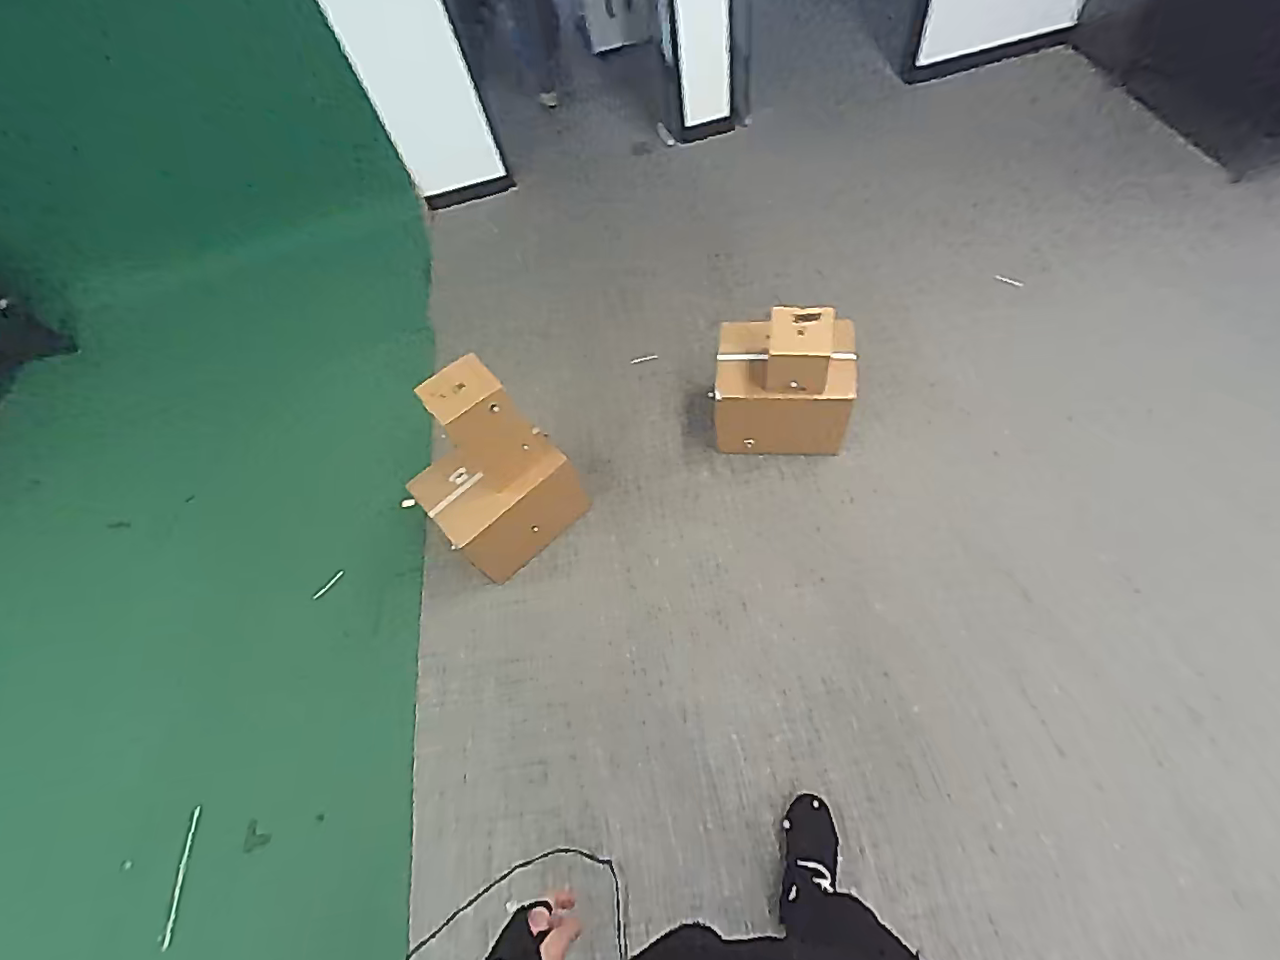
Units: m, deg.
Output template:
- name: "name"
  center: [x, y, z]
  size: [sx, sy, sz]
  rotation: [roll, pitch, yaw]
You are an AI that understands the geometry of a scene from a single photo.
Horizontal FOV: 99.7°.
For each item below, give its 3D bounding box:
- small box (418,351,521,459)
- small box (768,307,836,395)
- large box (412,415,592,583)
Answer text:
- name: "small box"
  center: [-0.429, -0.190, 1.396]
  size: [0.179, 0.176, 0.168]
  rotation: [-37, 60, -12]
- name: "small box"
  center: [0.454, -0.364, 1.531]
  size: [0.168, 0.176, 0.179]
  rotation: [5, 63, 13]
- name: "large box"
  center: [-0.425, 0.051, 1.737]
  size: [0.408, 0.320, 0.320]
  rotation: [-42, 60, -13]
